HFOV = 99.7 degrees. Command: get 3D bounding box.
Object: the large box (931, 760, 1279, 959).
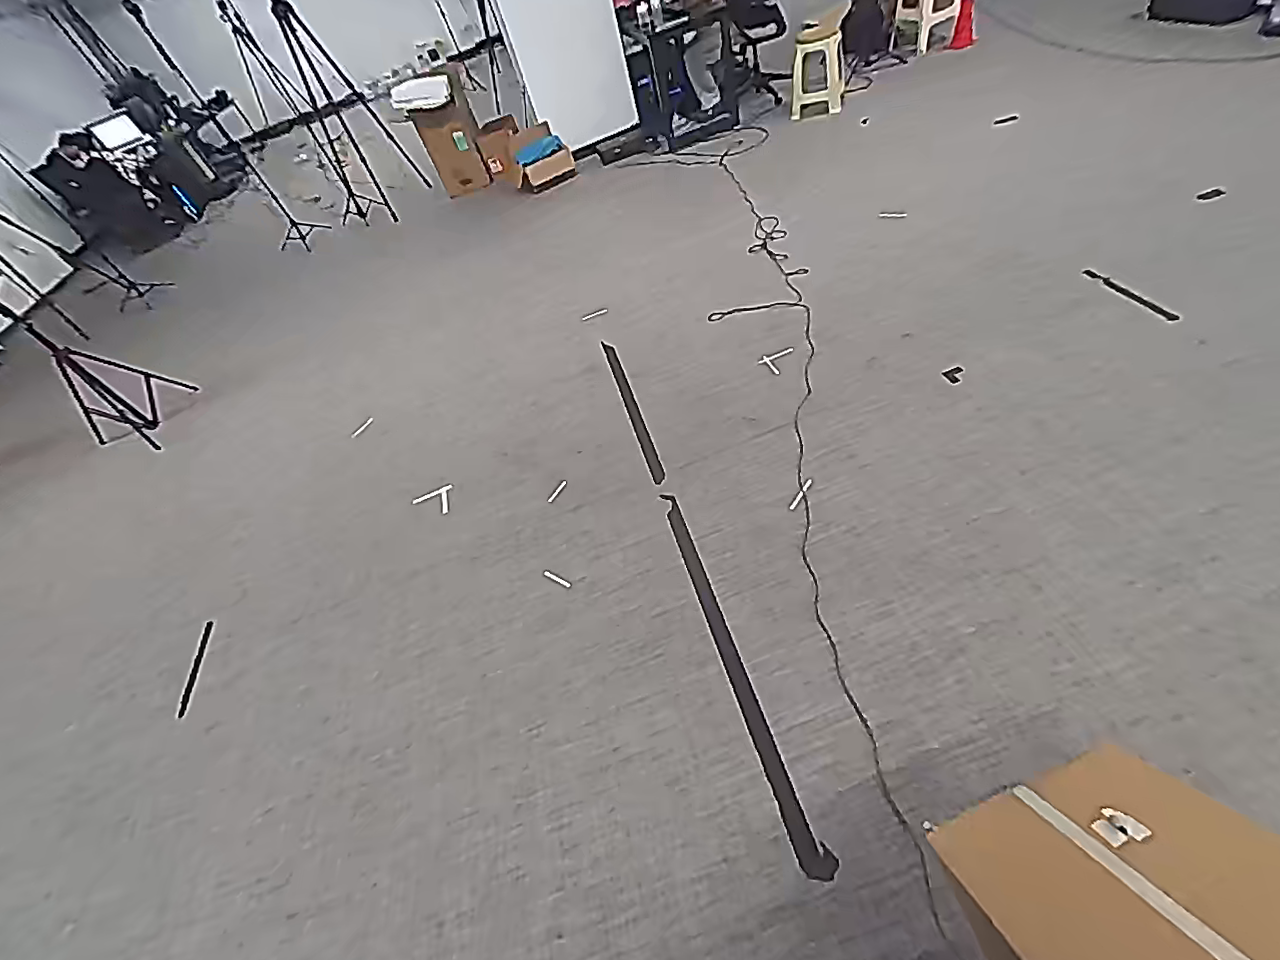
[{"bbox_3d":[0.636,0.611,0.611,0.320,0.408,0.320,-25,86,0],"label":"large box"}]
